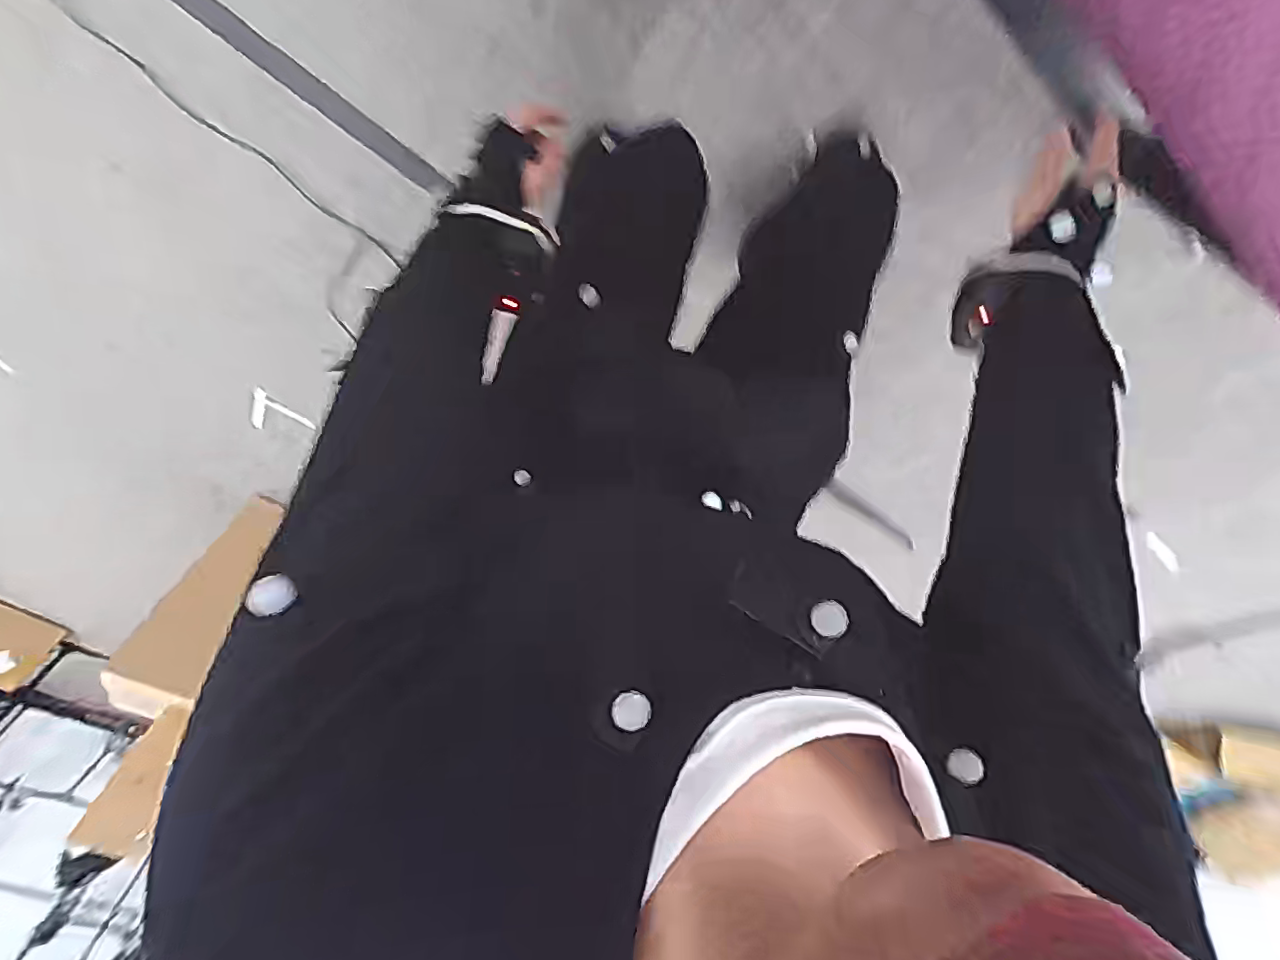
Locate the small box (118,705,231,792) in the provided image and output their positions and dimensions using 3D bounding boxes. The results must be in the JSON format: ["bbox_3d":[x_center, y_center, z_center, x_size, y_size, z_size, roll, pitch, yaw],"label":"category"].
[{"bbox_3d":[-1.302,0.750,1.519,0.179,0.176,0.168,30,134,-20],"label":"small box"}]
